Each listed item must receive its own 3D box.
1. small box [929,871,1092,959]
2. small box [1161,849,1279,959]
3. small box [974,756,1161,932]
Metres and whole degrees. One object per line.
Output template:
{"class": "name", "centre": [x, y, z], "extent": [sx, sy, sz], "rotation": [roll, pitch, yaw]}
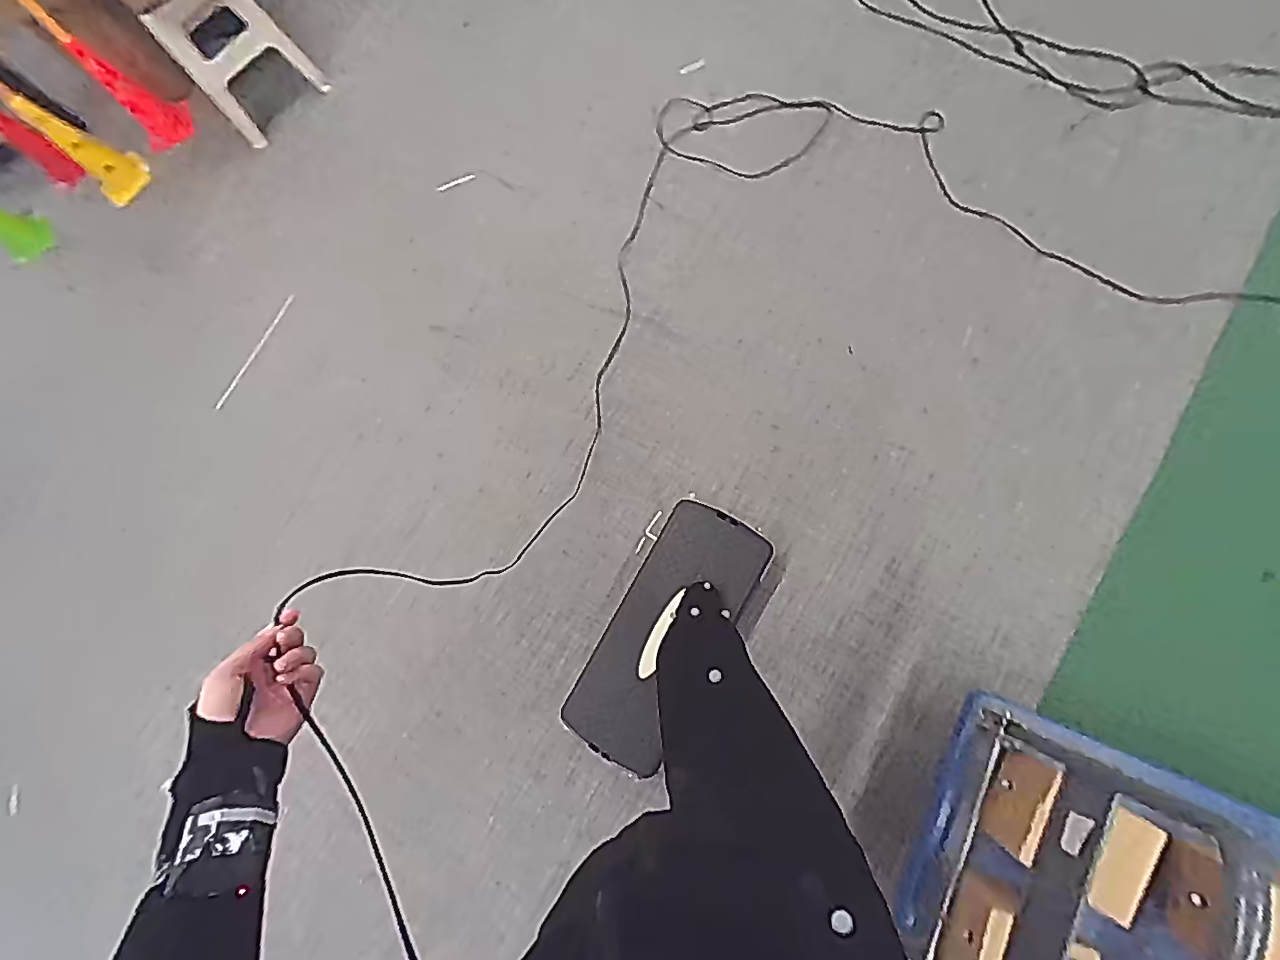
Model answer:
{"class": "small box", "centre": [0.631, 0.835, 0.941], "extent": [0.168, 0.176, 0.179], "rotation": [19, 81, 15]}
{"class": "small box", "centre": [1.018, 0.747, 0.888], "extent": [0.179, 0.176, 0.168], "rotation": [13, 80, 13]}
{"class": "small box", "centre": [0.748, 0.630, 0.968], "extent": [0.179, 0.176, 0.168], "rotation": [29, 84, 16]}
